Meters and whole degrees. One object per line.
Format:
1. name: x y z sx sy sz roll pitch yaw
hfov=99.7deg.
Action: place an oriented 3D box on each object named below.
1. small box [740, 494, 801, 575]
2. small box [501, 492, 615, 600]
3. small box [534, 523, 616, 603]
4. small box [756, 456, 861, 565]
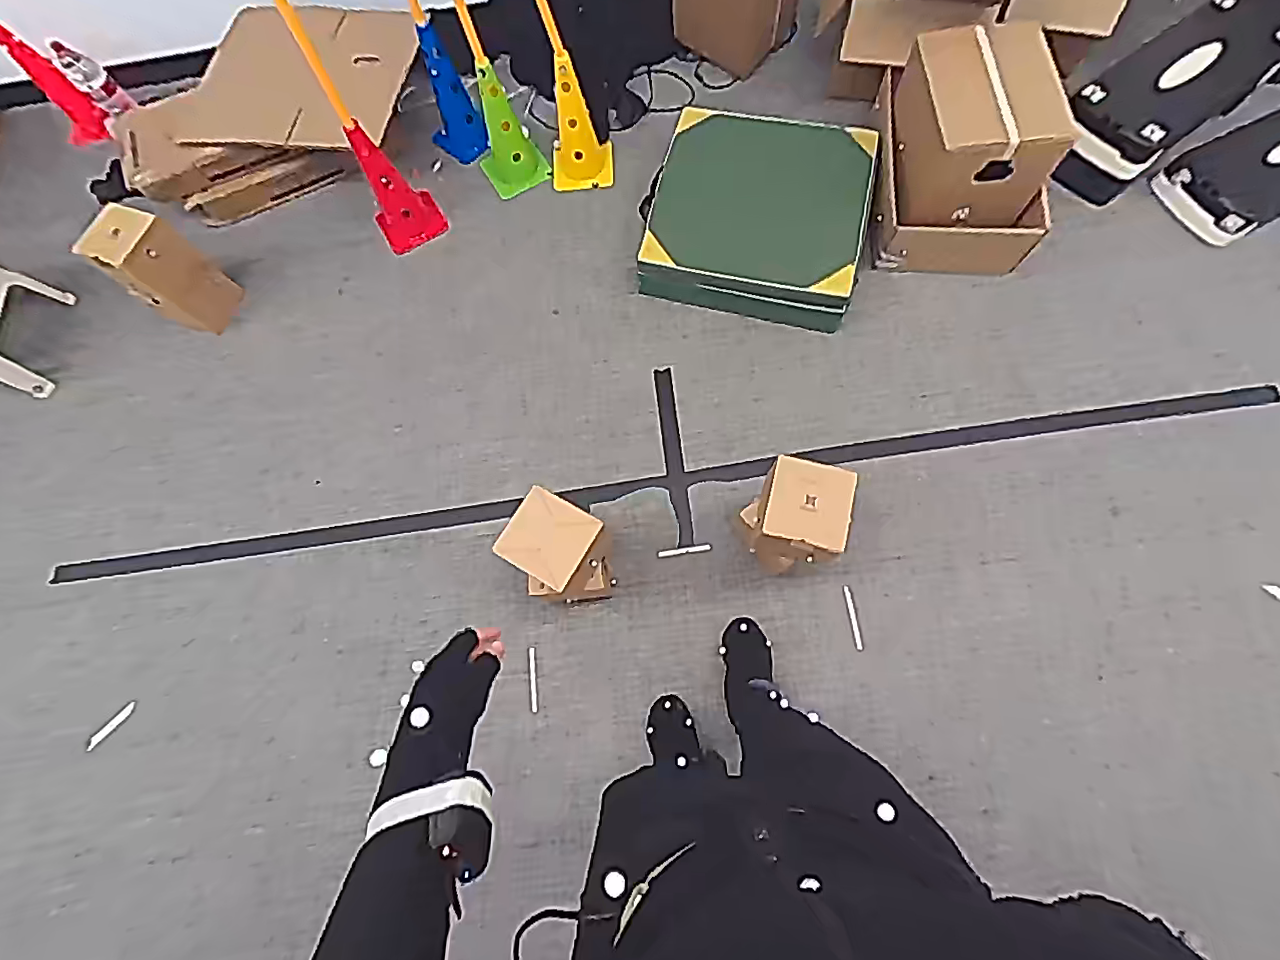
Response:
1. small box: 0.360 0.112 1.326 0.179 0.176 0.168 -39 73 -9
2. small box: -0.175 0.147 1.182 0.179 0.176 0.168 25 75 11
3. small box: -0.156 0.210 1.337 0.179 0.176 0.168 -7 71 4
4. small box: 0.354 0.074 1.165 0.168 0.176 0.179 15 74 7
